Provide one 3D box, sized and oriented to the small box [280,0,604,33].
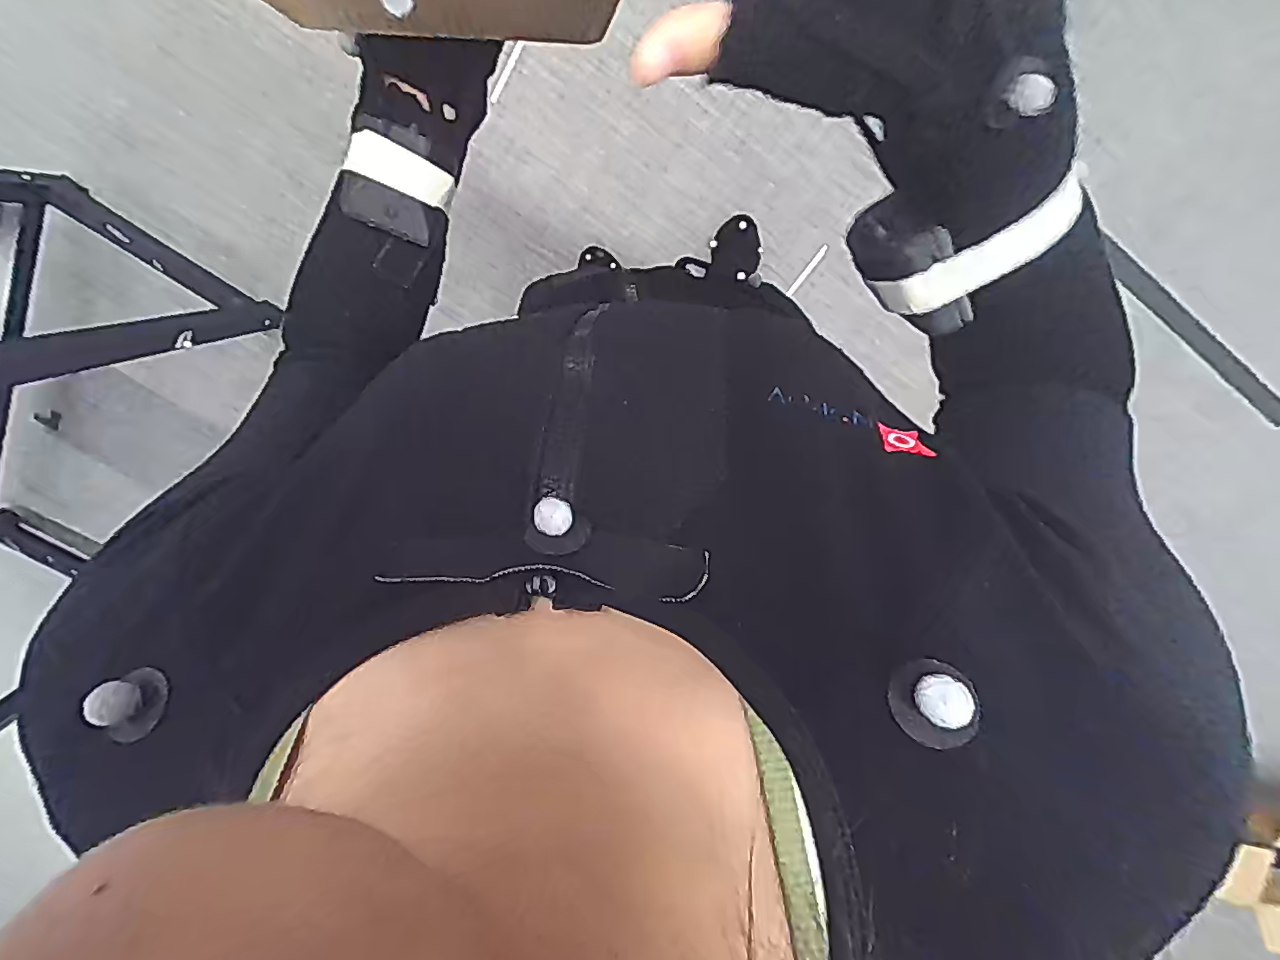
[{"bbox_3d":[-0.098,-0.299,0.211,0.179,0.176,0.168,-6,118,-7],"label":"small box"}]
